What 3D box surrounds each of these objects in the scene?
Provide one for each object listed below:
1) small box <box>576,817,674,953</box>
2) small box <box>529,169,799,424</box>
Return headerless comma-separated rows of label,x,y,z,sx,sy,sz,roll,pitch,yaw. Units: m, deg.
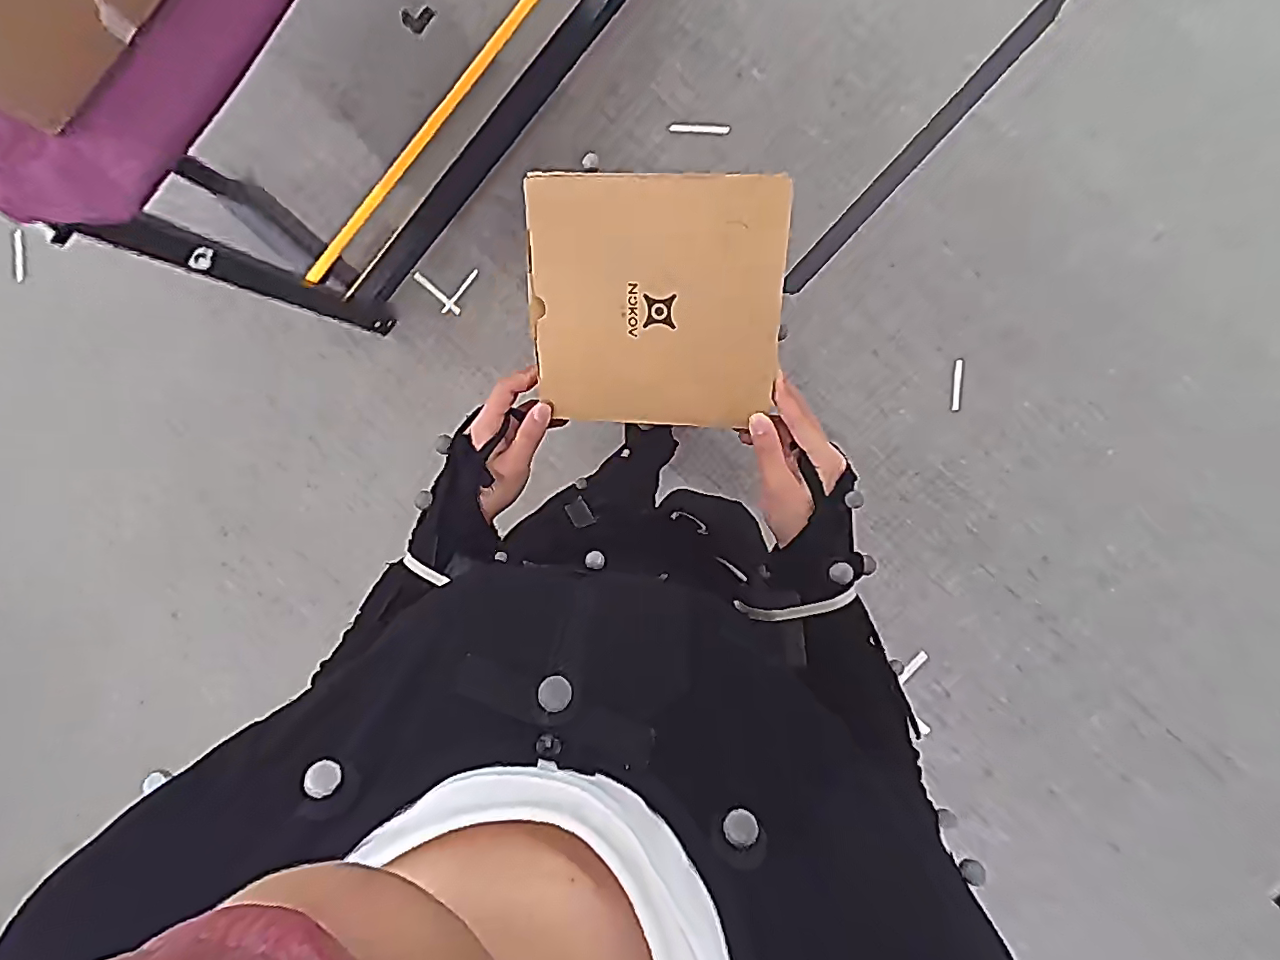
small box,-0.031,0.993,1.343,0.168,0.176,0.179,41,97,2
small box,0.022,-0.153,0.446,0.179,0.176,0.168,5,114,8
